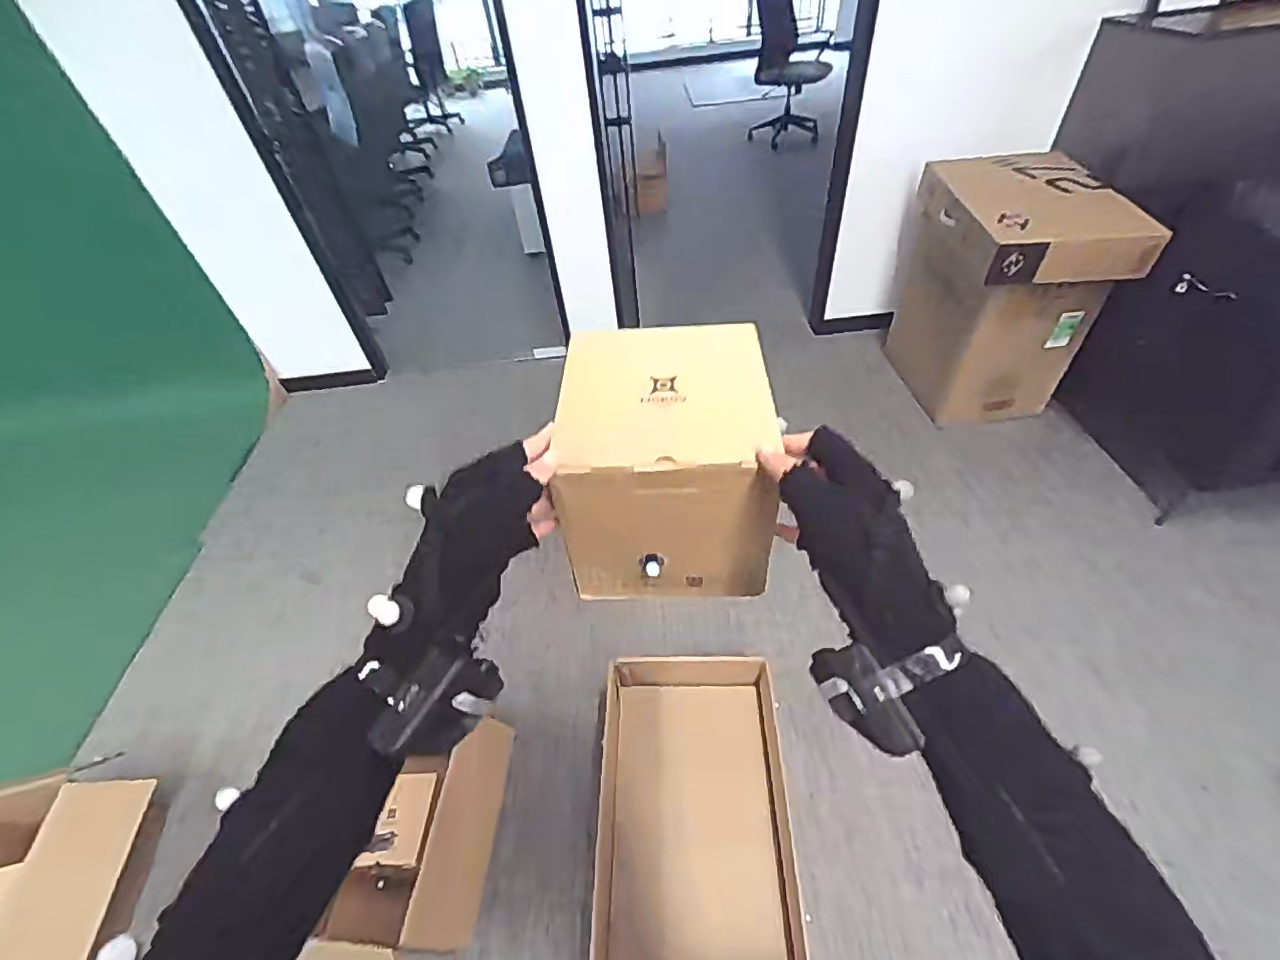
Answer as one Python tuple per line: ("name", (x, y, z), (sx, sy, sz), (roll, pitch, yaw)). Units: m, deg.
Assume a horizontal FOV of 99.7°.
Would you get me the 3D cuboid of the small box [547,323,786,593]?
("small box", (0.023, -0.019, 0.480), (0.168, 0.176, 0.179), (-2, 47, 3))
